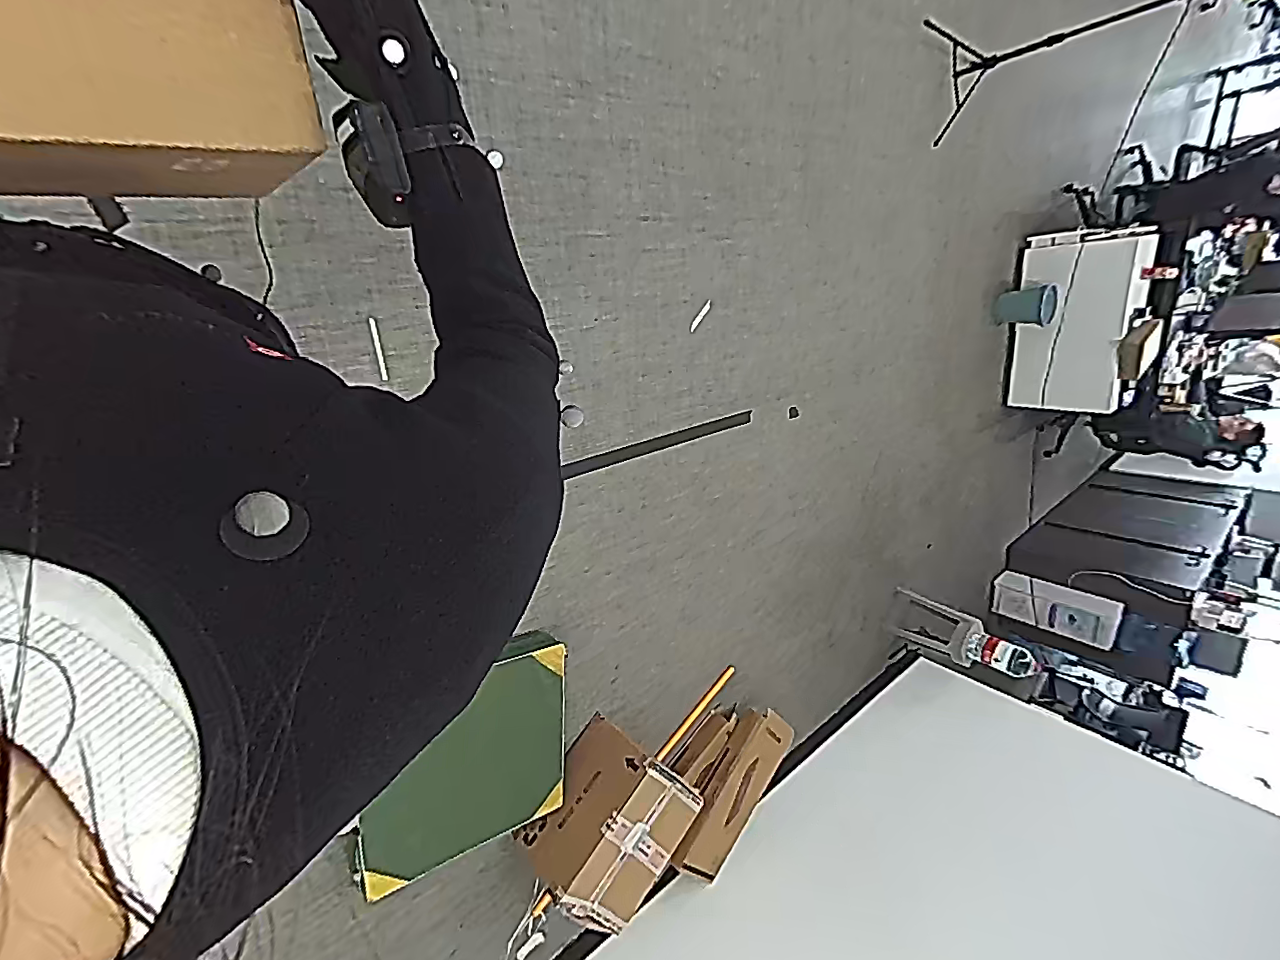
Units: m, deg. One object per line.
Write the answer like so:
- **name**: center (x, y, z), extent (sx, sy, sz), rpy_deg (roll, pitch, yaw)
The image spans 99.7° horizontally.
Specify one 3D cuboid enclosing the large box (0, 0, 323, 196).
- **large box**: center (-0.479, -0.351, 0.313), extent (0.408, 0.320, 0.320), rpy_deg (-22, 121, -35)
